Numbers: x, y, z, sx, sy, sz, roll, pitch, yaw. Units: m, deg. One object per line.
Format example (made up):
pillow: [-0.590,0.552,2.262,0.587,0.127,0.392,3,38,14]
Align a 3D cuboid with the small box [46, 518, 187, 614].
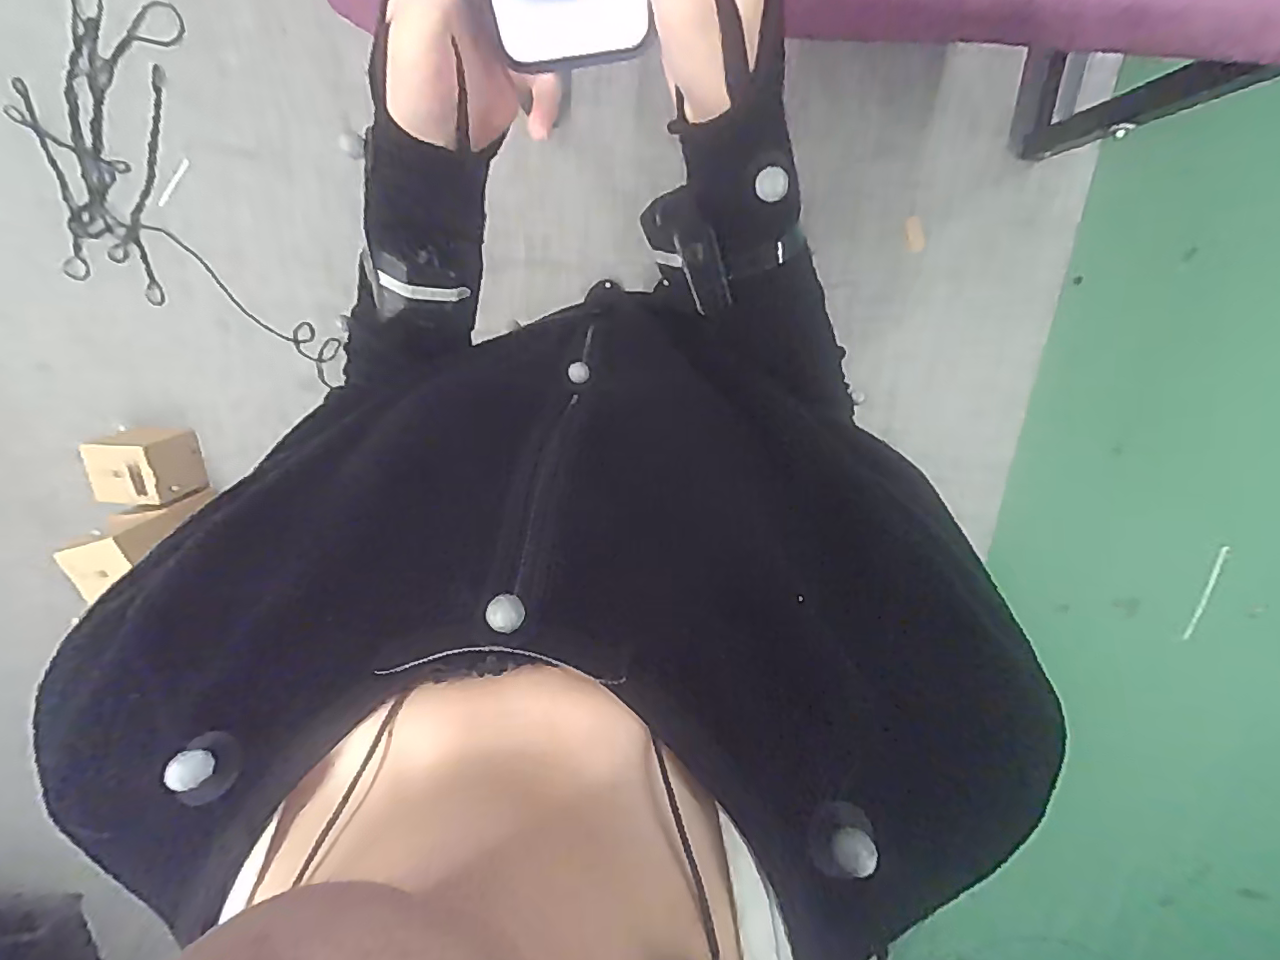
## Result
small box: [-1.325,0.215,1.391,0.179,0.176,0.168,-14,108,7]
